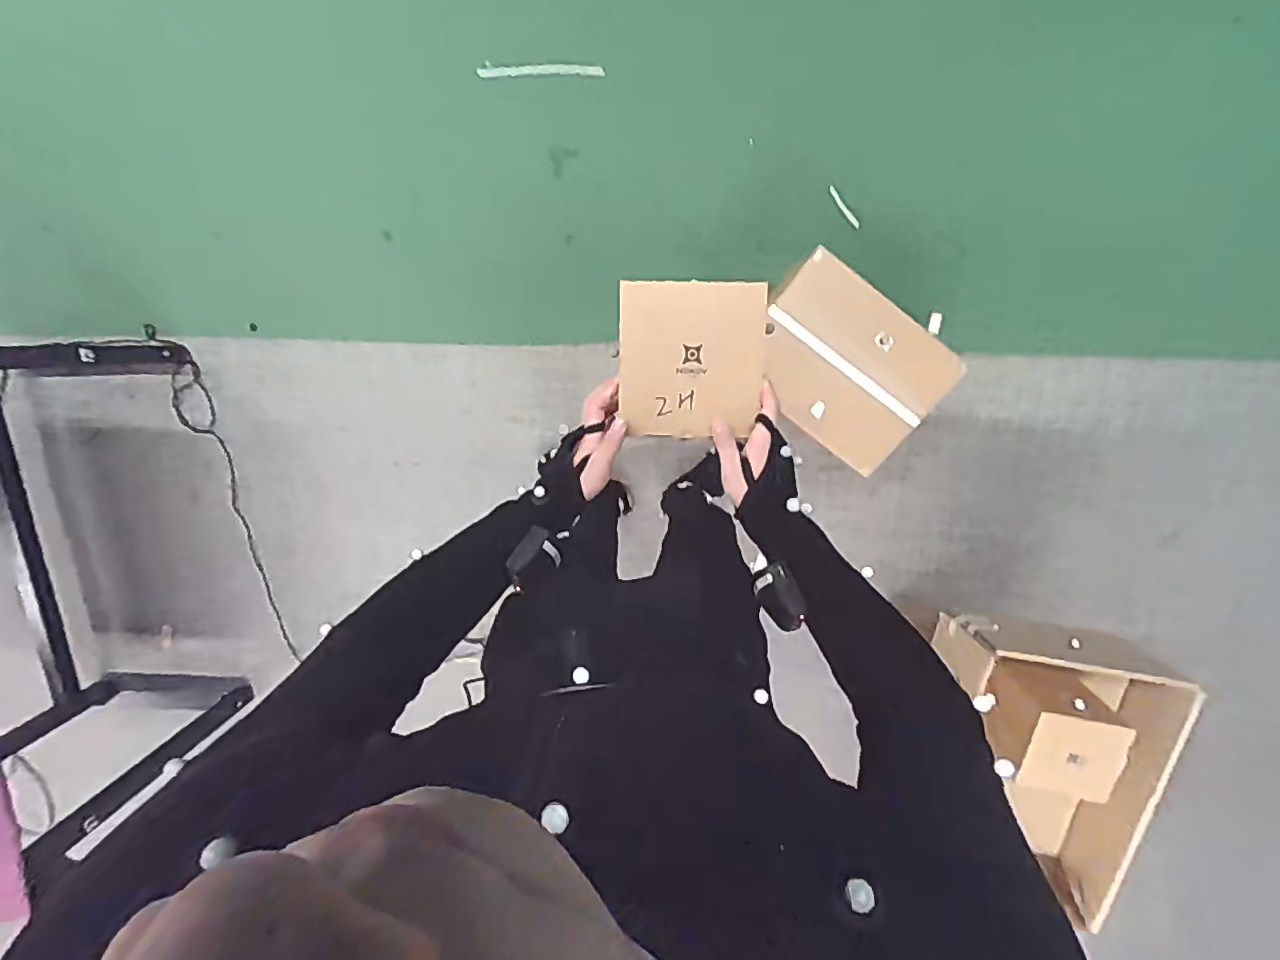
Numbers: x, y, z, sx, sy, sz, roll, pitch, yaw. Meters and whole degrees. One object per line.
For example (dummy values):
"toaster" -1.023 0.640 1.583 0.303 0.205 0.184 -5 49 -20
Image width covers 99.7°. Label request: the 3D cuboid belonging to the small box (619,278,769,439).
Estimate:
"small box" 0.059 -0.149 0.684 0.168 0.176 0.179 1 102 1
